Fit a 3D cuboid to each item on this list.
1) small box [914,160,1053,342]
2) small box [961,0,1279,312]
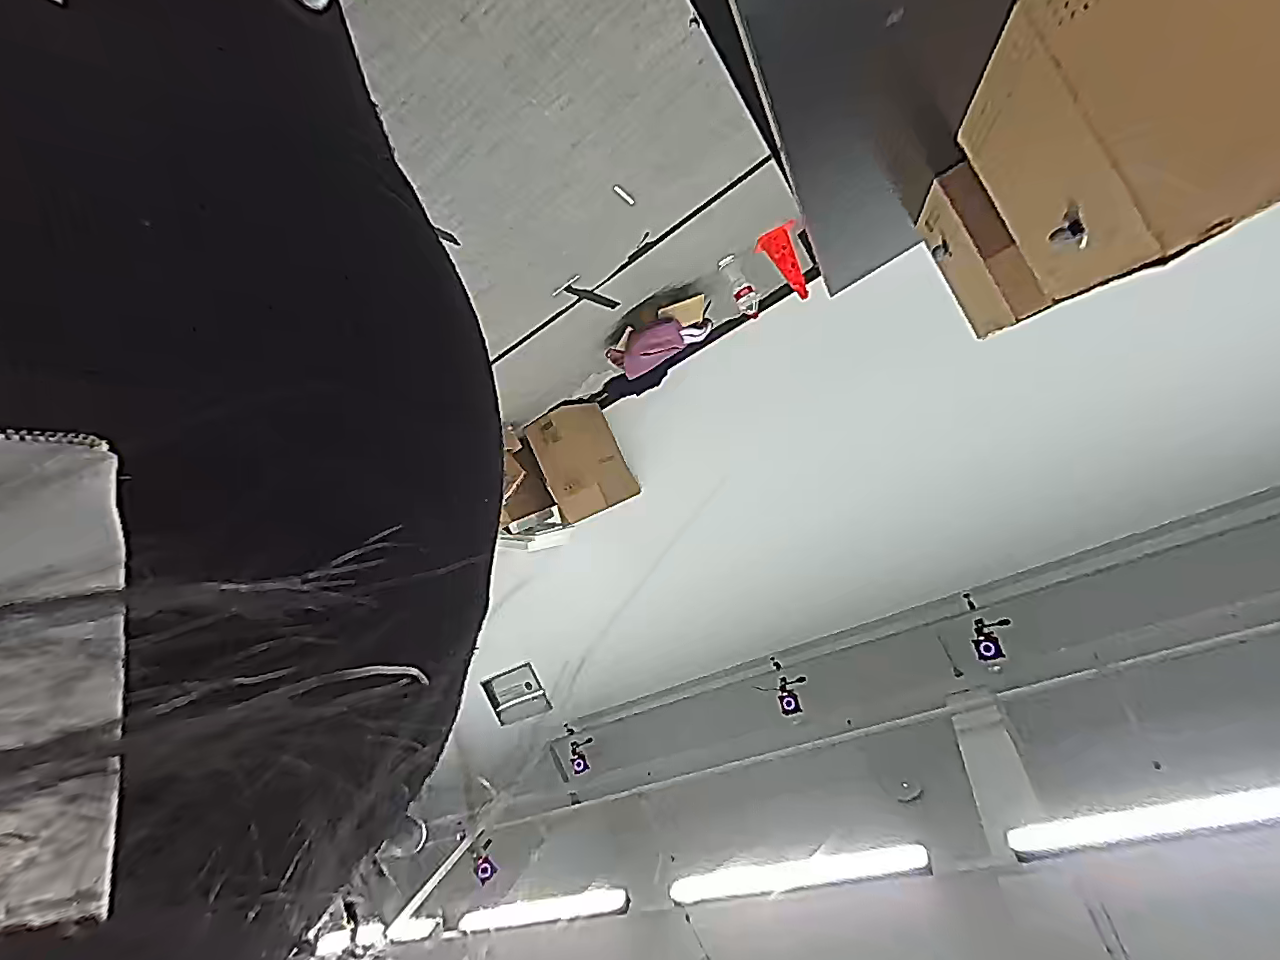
[{"bbox_3d":[0.426,-0.272,0.573,0.179,0.176,0.168,-29,177,22],"label":"small box"},{"bbox_3d":[0.339,-0.237,0.346,0.168,0.176,0.179,-28,179,22],"label":"small box"}]
